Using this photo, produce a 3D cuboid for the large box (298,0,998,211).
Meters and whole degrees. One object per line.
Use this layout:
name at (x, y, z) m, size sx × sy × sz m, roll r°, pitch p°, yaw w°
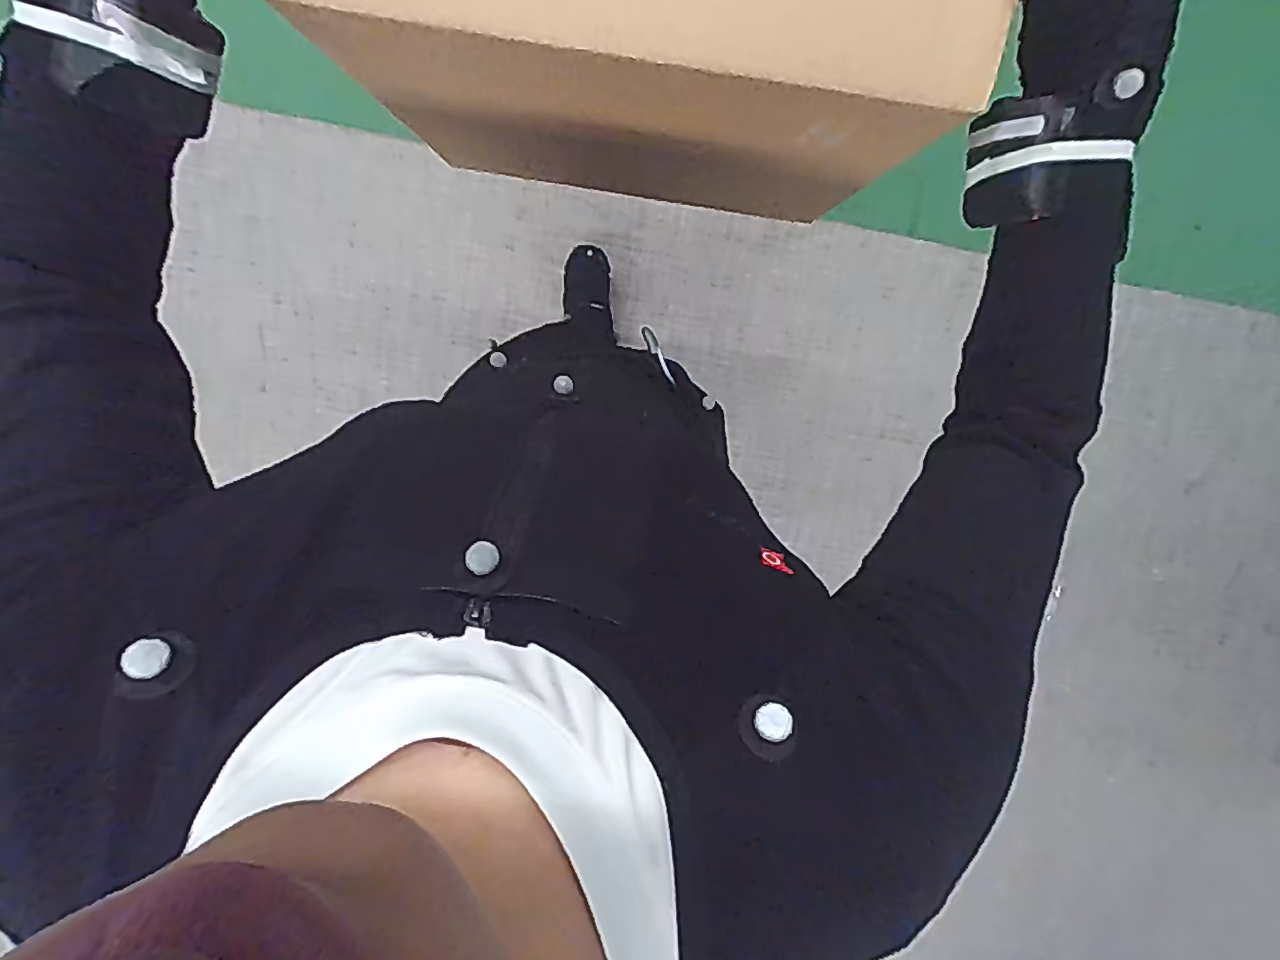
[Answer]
large box at (0.015, -0.428, 0.415) m, size 0.408 × 0.320 × 0.320 m, roll 7°, pitch 105°, yaw -2°
